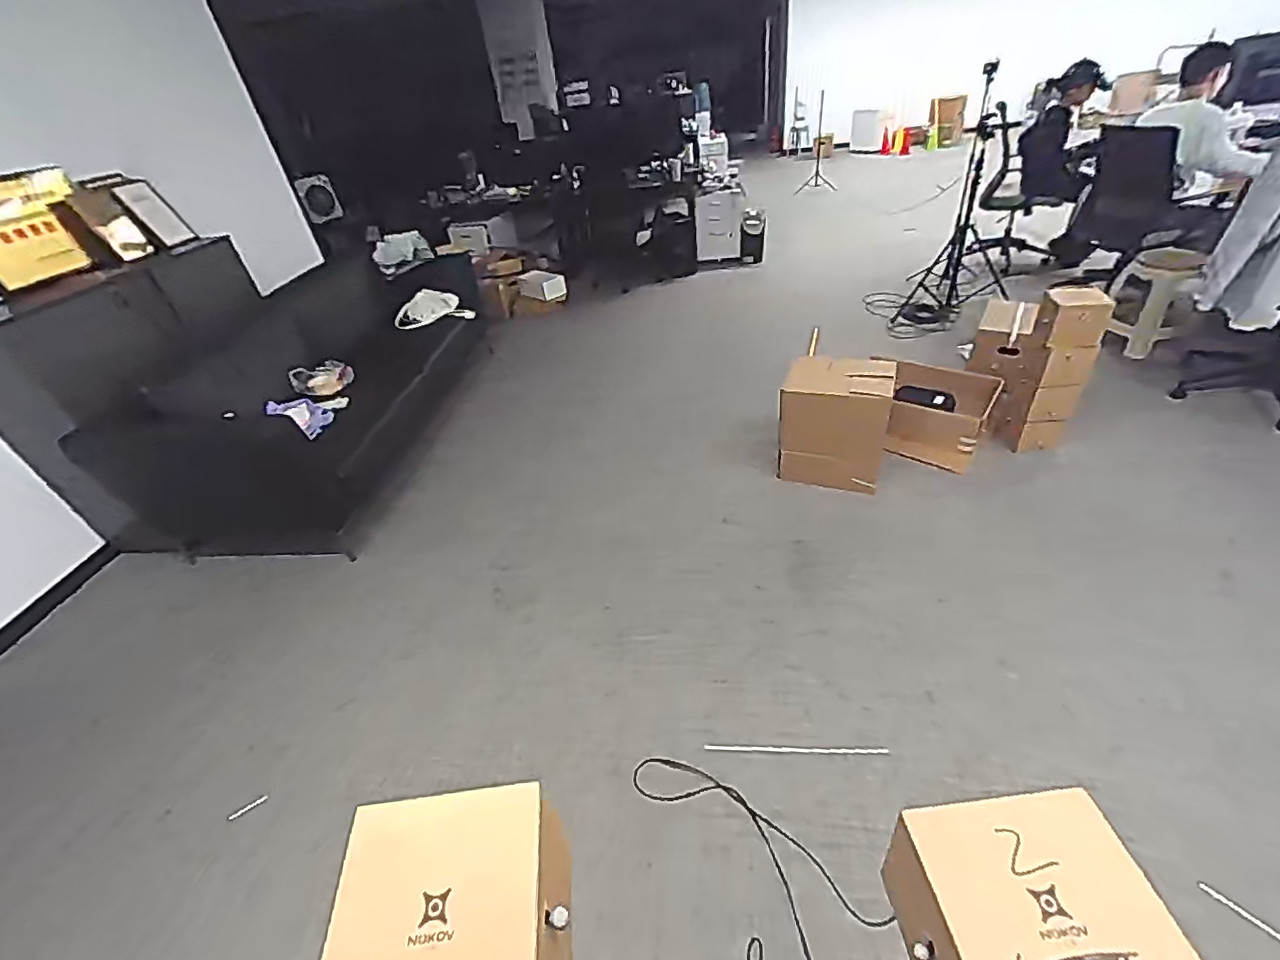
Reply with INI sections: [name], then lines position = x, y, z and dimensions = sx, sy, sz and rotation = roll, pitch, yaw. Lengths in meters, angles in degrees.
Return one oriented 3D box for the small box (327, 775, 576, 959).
[small box]
position = -0.152, 0.392, 0.483
dimensions = 0.168, 0.176, 0.179
rotation = -7, 46, -1
